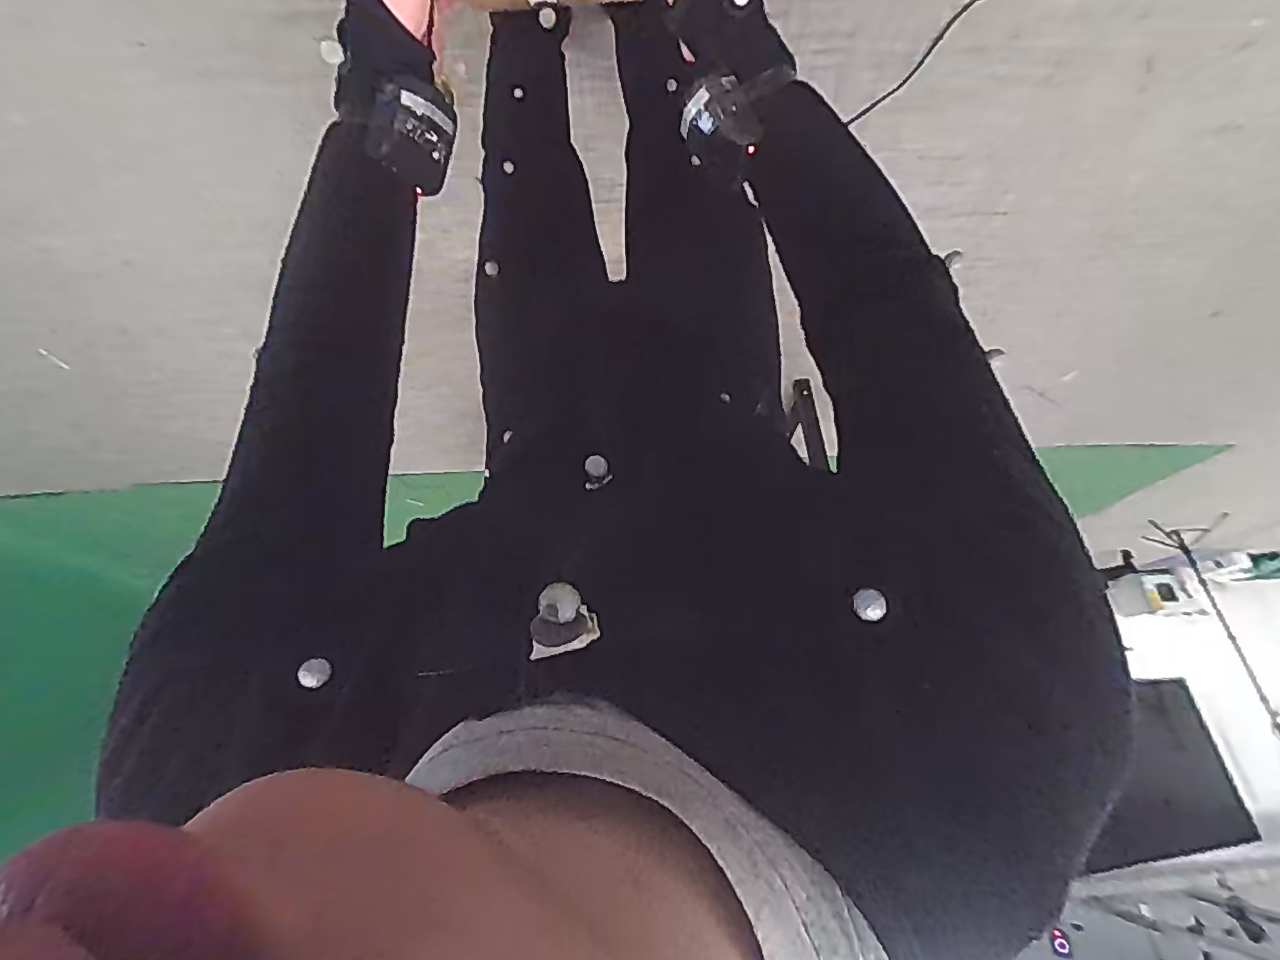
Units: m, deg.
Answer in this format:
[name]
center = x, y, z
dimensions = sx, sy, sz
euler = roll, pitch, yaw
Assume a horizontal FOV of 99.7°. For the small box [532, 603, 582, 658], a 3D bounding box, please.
[small box]
center = -0.297, 0.541, 1.950
dimensions = 0.168, 0.176, 0.179
euler = -2, 156, -3
